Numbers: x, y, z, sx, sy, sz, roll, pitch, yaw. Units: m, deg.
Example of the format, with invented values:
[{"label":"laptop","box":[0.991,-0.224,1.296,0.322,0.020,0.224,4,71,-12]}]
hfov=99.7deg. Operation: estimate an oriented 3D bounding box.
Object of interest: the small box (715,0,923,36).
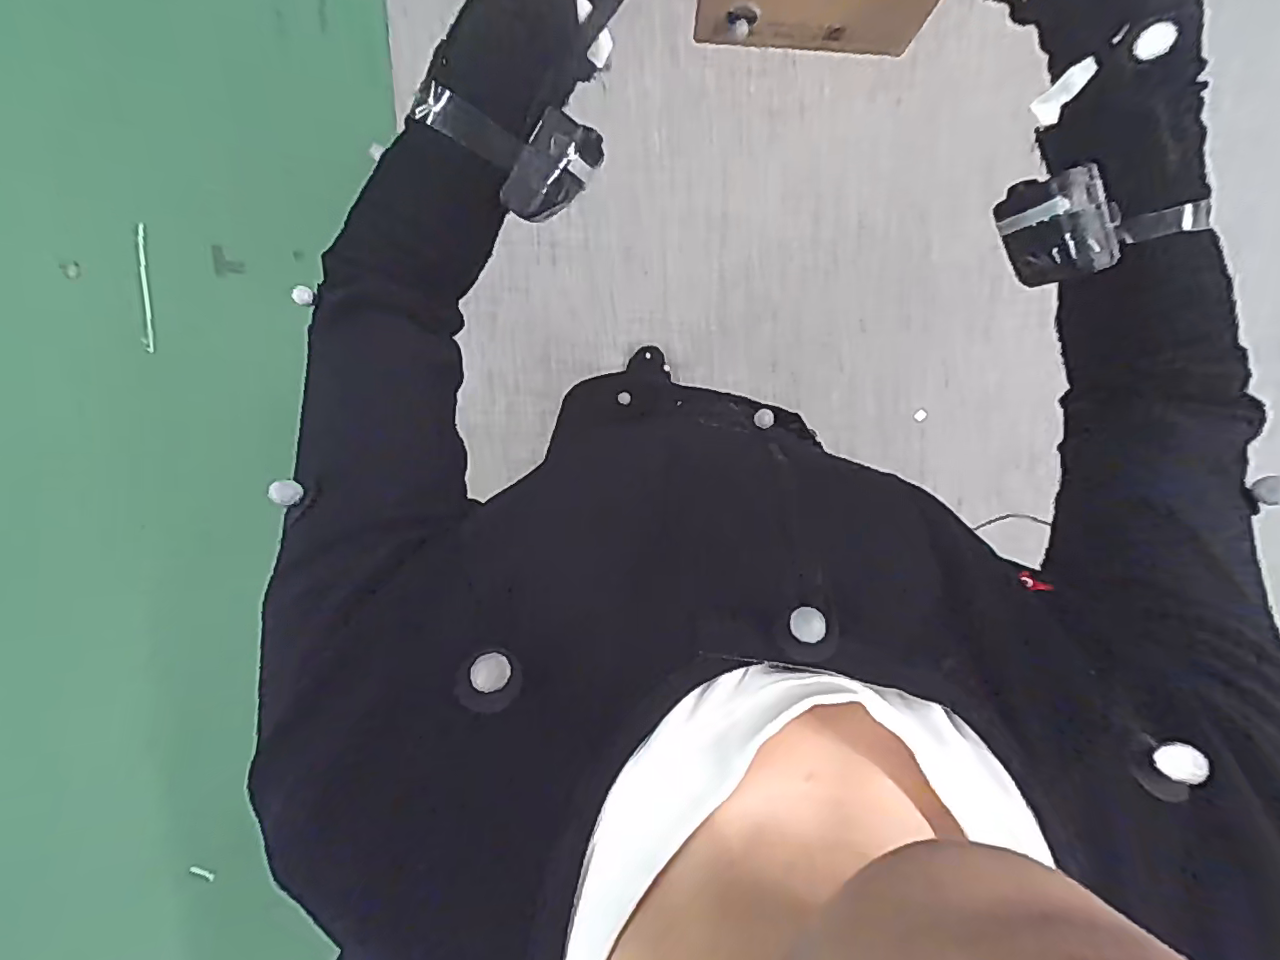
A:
[{"label":"small box","box":[0.132,-0.424,0.333,0.168,0.176,0.179,4,94,-1]}]
